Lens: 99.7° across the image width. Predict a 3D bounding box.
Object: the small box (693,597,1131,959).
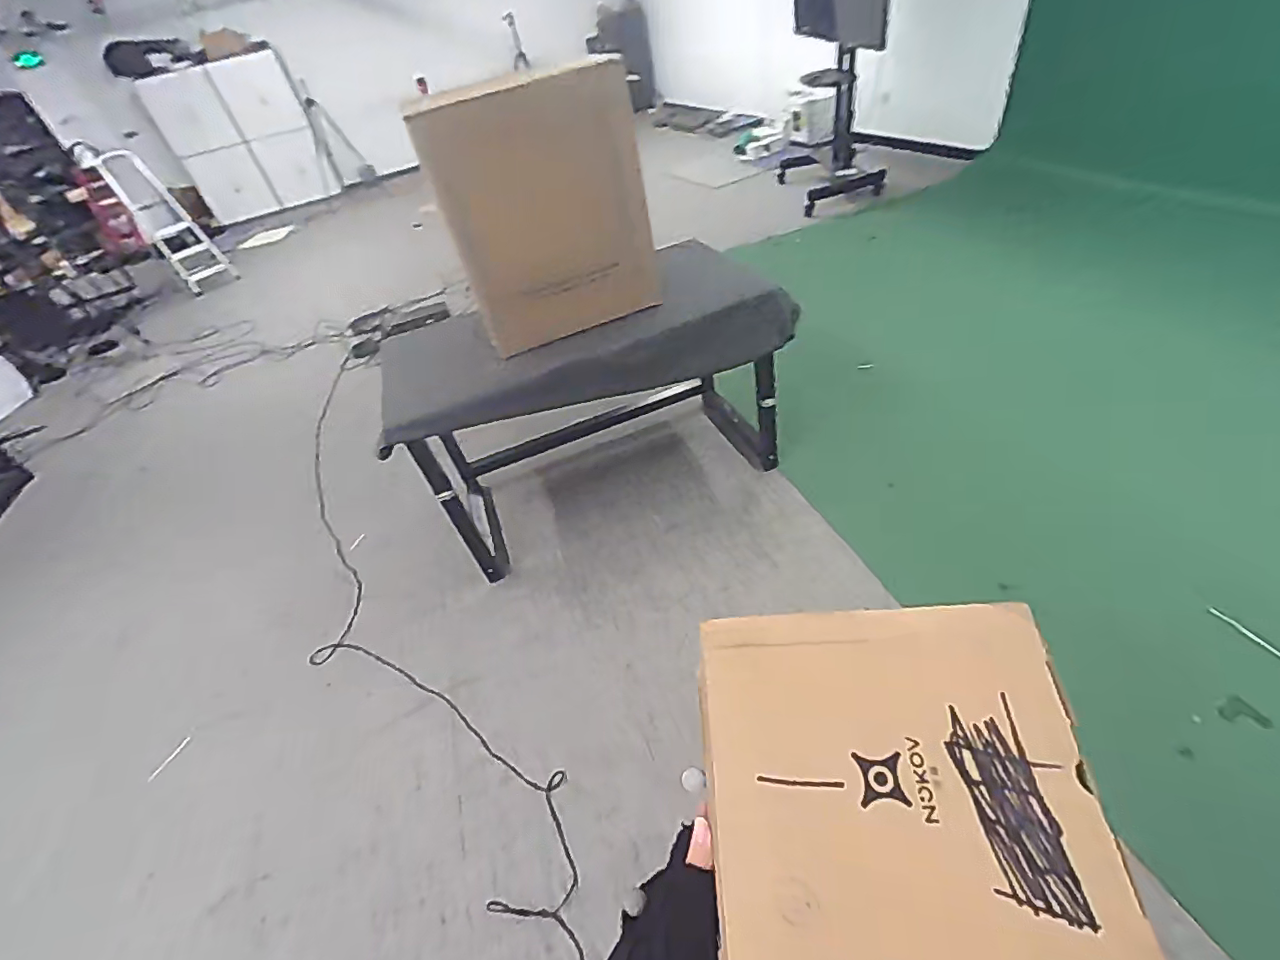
[{"bbox_3d":[0.126,0.181,0.338,0.179,0.176,0.168,-5,59,5],"label":"small box"}]
